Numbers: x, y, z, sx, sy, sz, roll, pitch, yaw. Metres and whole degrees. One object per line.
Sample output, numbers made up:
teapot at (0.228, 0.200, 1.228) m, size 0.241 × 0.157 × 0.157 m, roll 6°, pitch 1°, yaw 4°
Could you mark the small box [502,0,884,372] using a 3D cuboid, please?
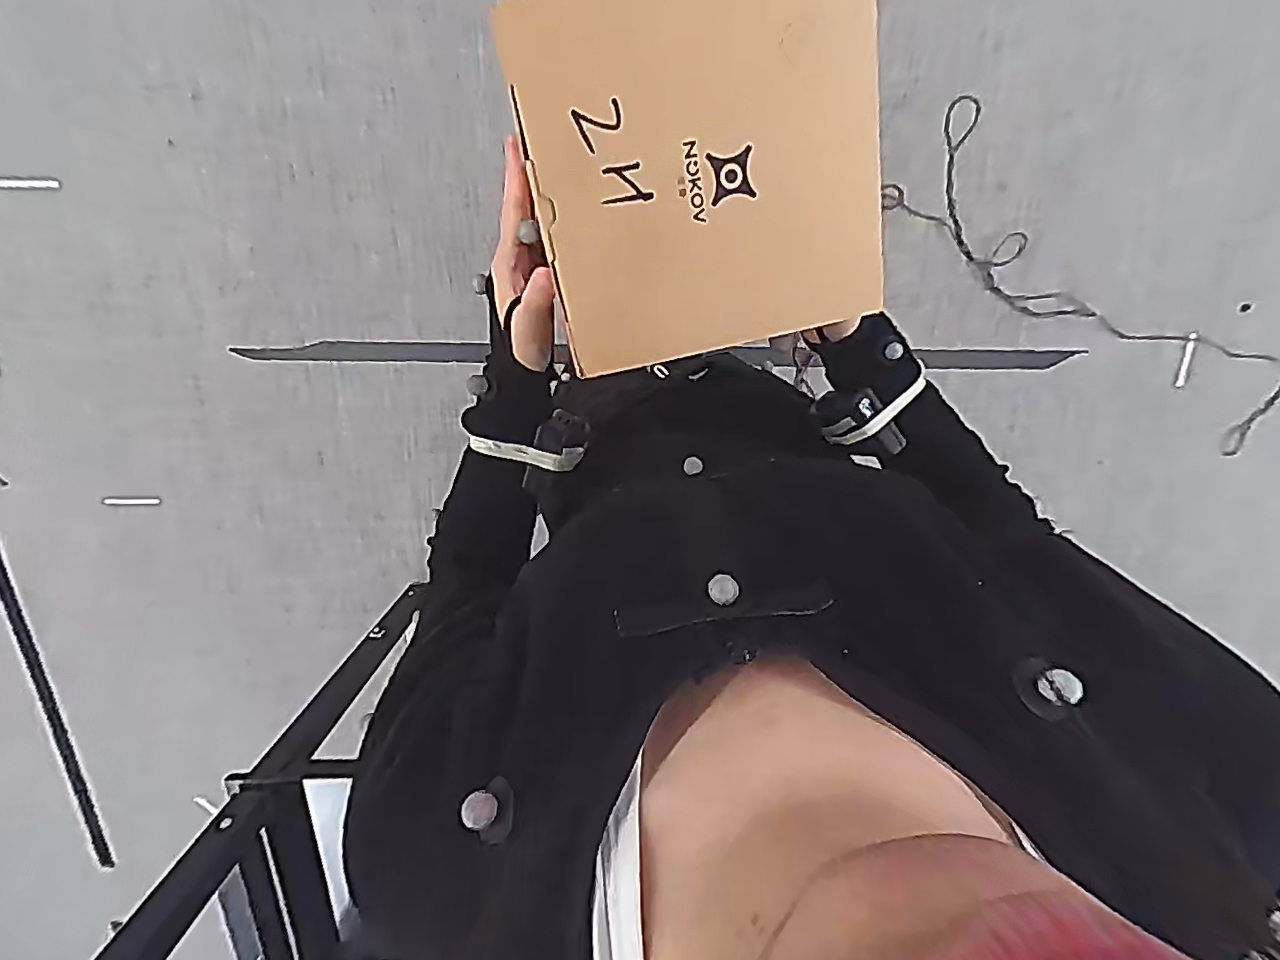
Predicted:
small box at (0.025, -0.177, 0.338) m, size 0.179 × 0.176 × 0.168 m, roll -13°, pitch 112°, yaw -4°
